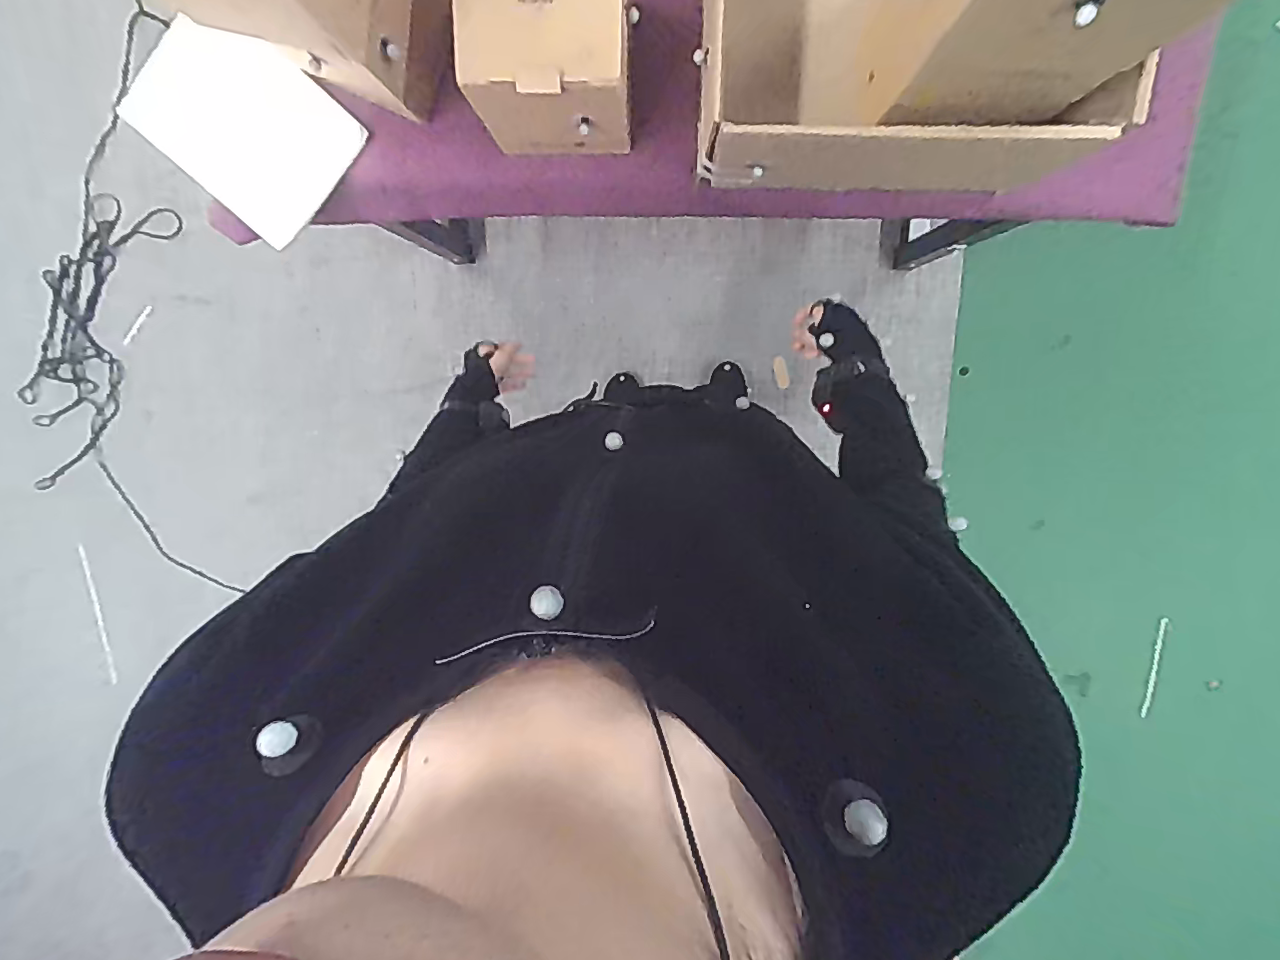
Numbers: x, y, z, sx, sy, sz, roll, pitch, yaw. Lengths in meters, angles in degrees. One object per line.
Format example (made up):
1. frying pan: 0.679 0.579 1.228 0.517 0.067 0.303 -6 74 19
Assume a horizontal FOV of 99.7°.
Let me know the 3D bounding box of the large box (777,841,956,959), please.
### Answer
1. large box: 0.664 1.352 1.598 0.408 0.320 0.320 -14 101 4

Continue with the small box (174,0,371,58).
1. small box: -0.334 -0.490 0.440 0.179 0.176 0.168 14 102 0

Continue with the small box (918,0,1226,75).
1. small box: 0.325 -0.413 0.372 0.179 0.176 0.168 4 101 5
